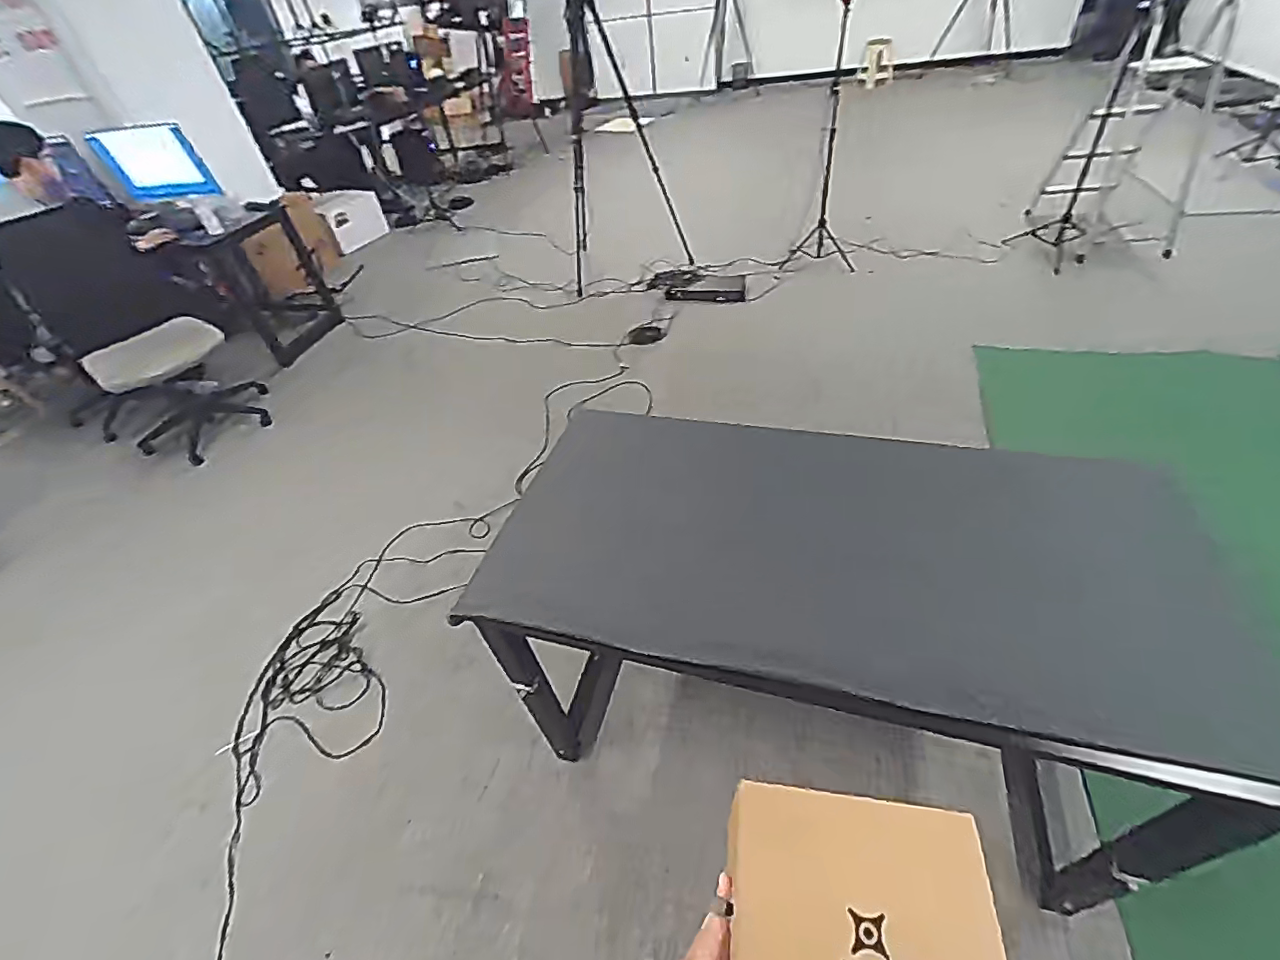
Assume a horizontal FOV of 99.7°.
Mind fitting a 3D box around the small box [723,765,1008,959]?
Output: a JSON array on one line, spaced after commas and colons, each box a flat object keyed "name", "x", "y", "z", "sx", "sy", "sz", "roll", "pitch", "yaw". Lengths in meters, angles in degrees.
[{"name": "small box", "x": 0.149, "y": 0.339, "z": 0.401, "sx": 0.168, "sy": 0.176, "sz": 0.179, "roll": 3, "pitch": 49, "yaw": 9}]
